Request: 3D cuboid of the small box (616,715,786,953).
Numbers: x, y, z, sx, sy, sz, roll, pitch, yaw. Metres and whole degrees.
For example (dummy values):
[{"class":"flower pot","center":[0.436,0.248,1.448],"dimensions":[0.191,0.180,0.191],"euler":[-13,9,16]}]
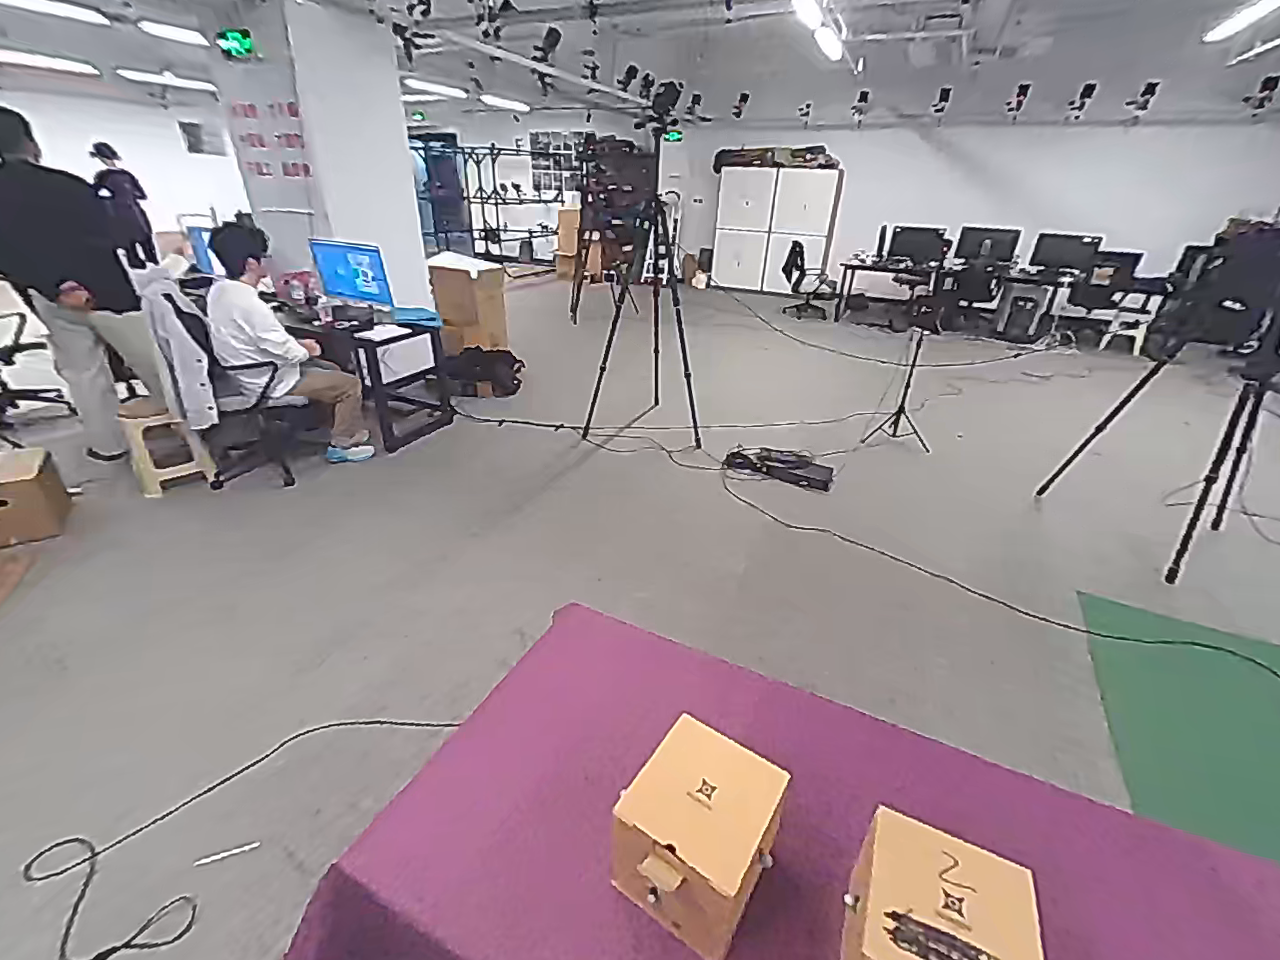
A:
[{"class":"small box","center":[0.078,0.473,0.737],"dimensions":[0.168,0.176,0.179],"euler":[20,34,29]}]
